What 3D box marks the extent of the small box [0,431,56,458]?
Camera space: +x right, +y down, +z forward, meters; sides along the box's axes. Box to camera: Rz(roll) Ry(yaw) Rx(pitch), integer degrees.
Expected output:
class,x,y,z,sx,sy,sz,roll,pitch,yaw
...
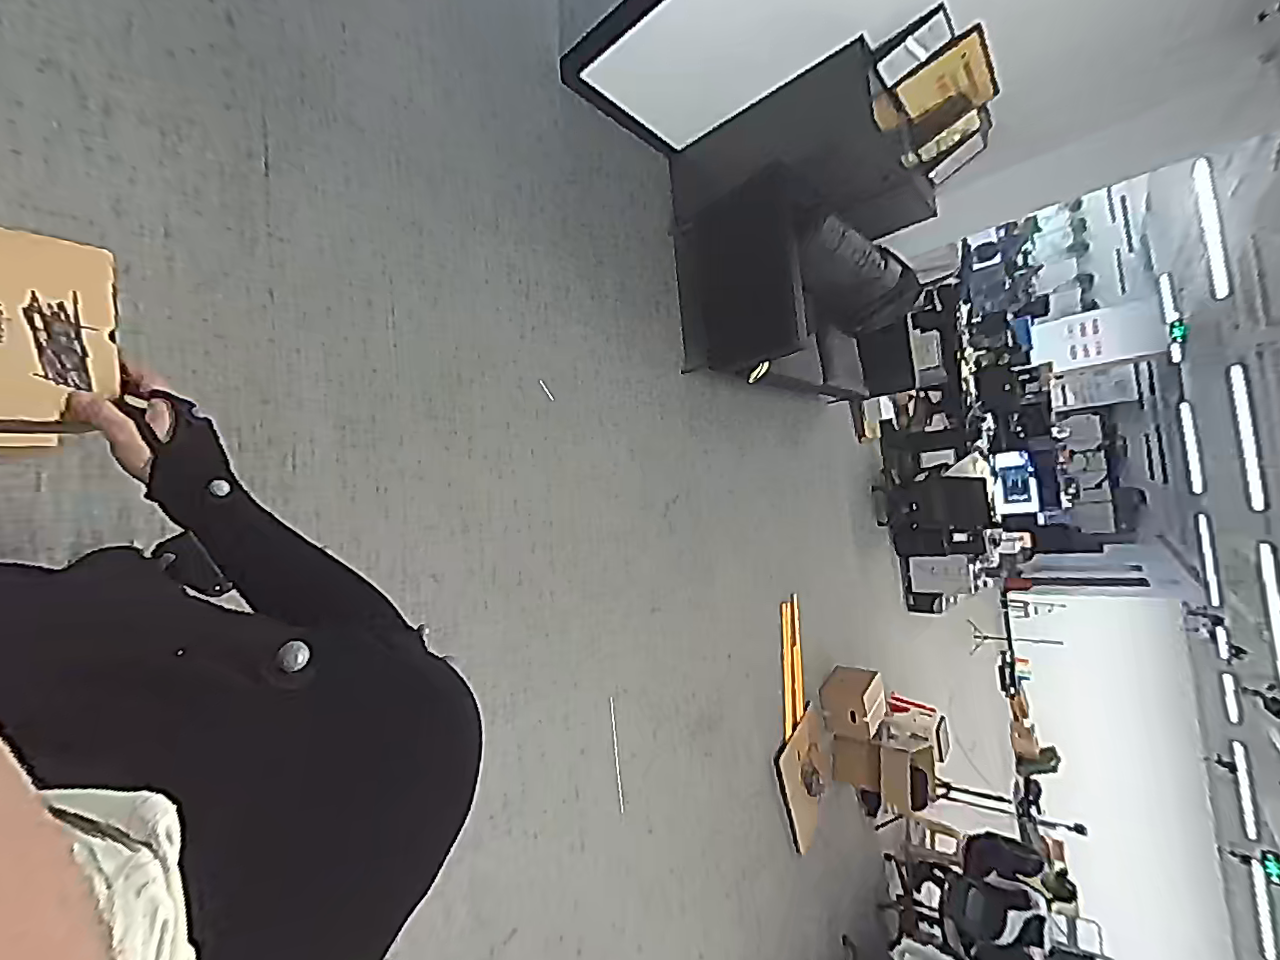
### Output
class,x,y,z,sx,sy,sz,roll,pitch,yaw
small box,-1.243,-0.140,1.031,0.168,0.176,0.179,-2,86,-49

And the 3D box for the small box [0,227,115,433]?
class,x,y,z,sx,sy,sz,roll,pitch,yaw
small box,-0.611,-0.129,0.479,0.179,0.176,0.168,-6,94,-55
